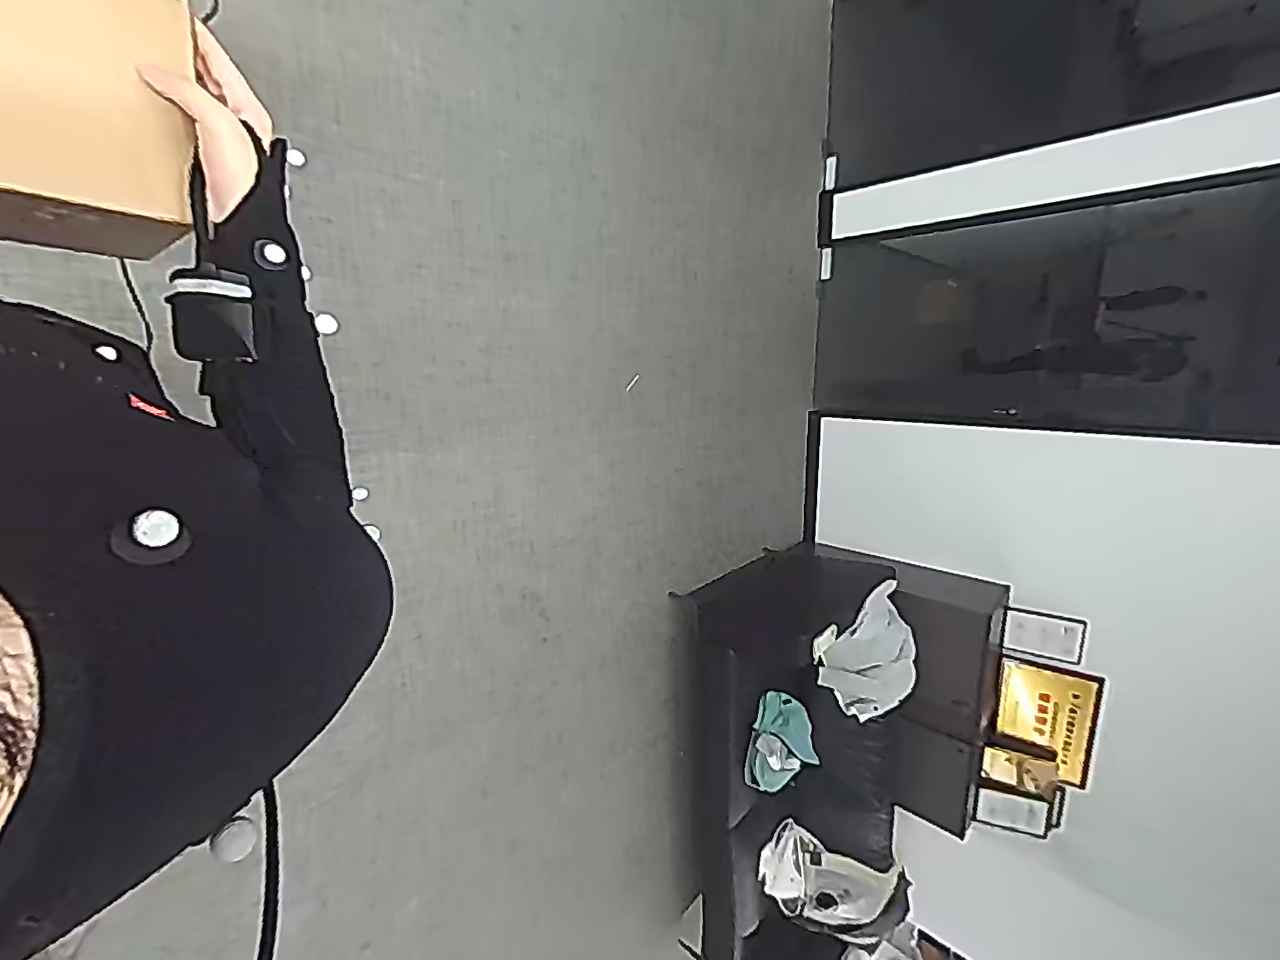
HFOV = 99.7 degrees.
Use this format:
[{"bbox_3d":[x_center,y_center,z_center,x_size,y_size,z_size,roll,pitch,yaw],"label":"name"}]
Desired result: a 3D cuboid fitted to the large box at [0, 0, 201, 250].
[{"bbox_3d":[-0.570,-0.354,0.331,0.408,0.320,0.320,-9,108,-48],"label":"large box"}]
